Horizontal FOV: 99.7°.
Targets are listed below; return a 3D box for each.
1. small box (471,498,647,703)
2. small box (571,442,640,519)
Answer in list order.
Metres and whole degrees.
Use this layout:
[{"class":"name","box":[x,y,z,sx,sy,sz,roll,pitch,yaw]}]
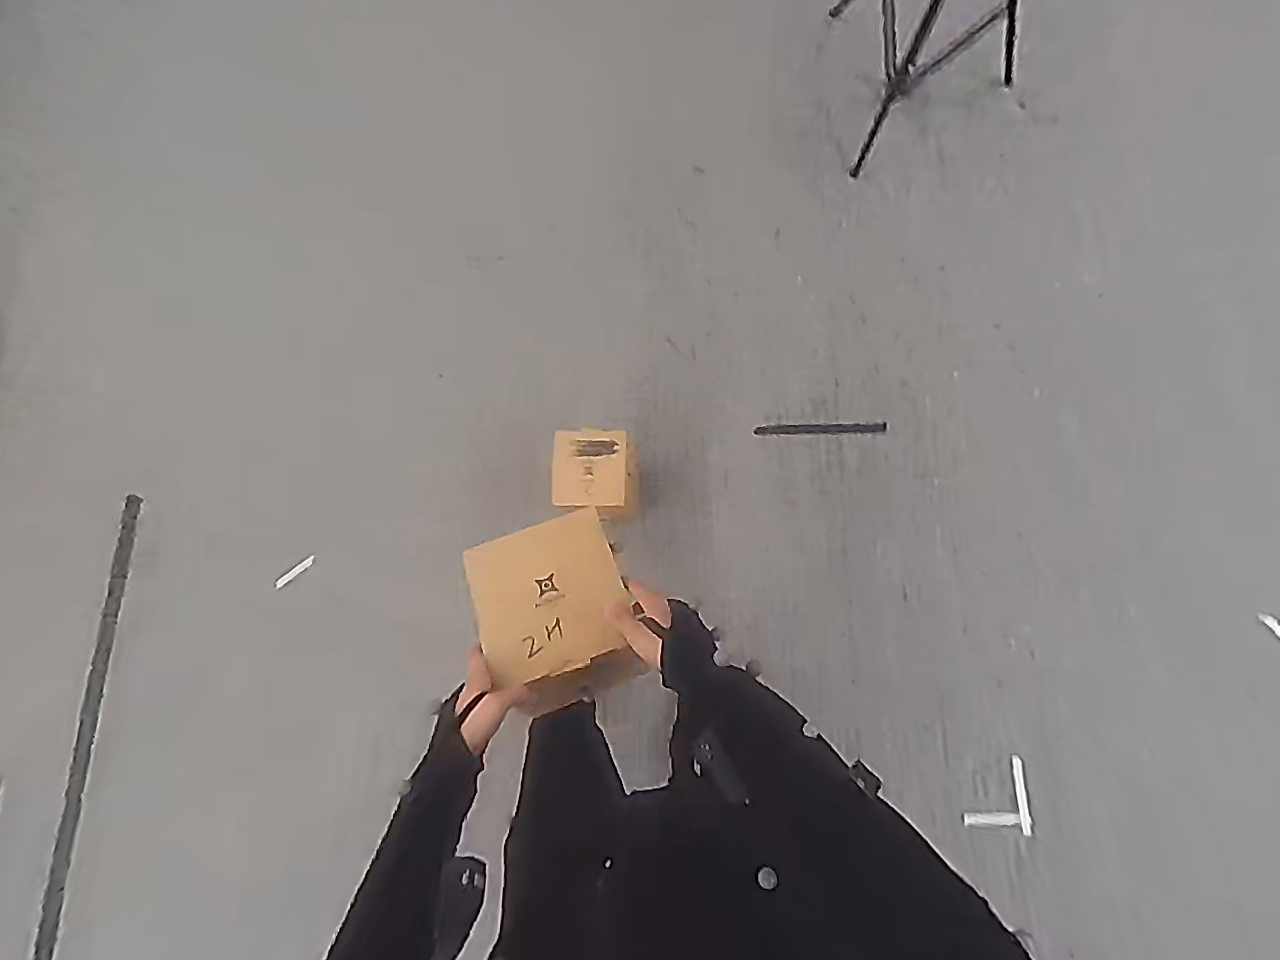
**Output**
[{"class":"small box","box":[-0.095,0.155,0.675,0.168,0.176,0.179,-18,60,-7]},{"class":"small box","box":[-0.089,0.005,1.444,0.168,0.176,0.179,-2,78,4]}]
